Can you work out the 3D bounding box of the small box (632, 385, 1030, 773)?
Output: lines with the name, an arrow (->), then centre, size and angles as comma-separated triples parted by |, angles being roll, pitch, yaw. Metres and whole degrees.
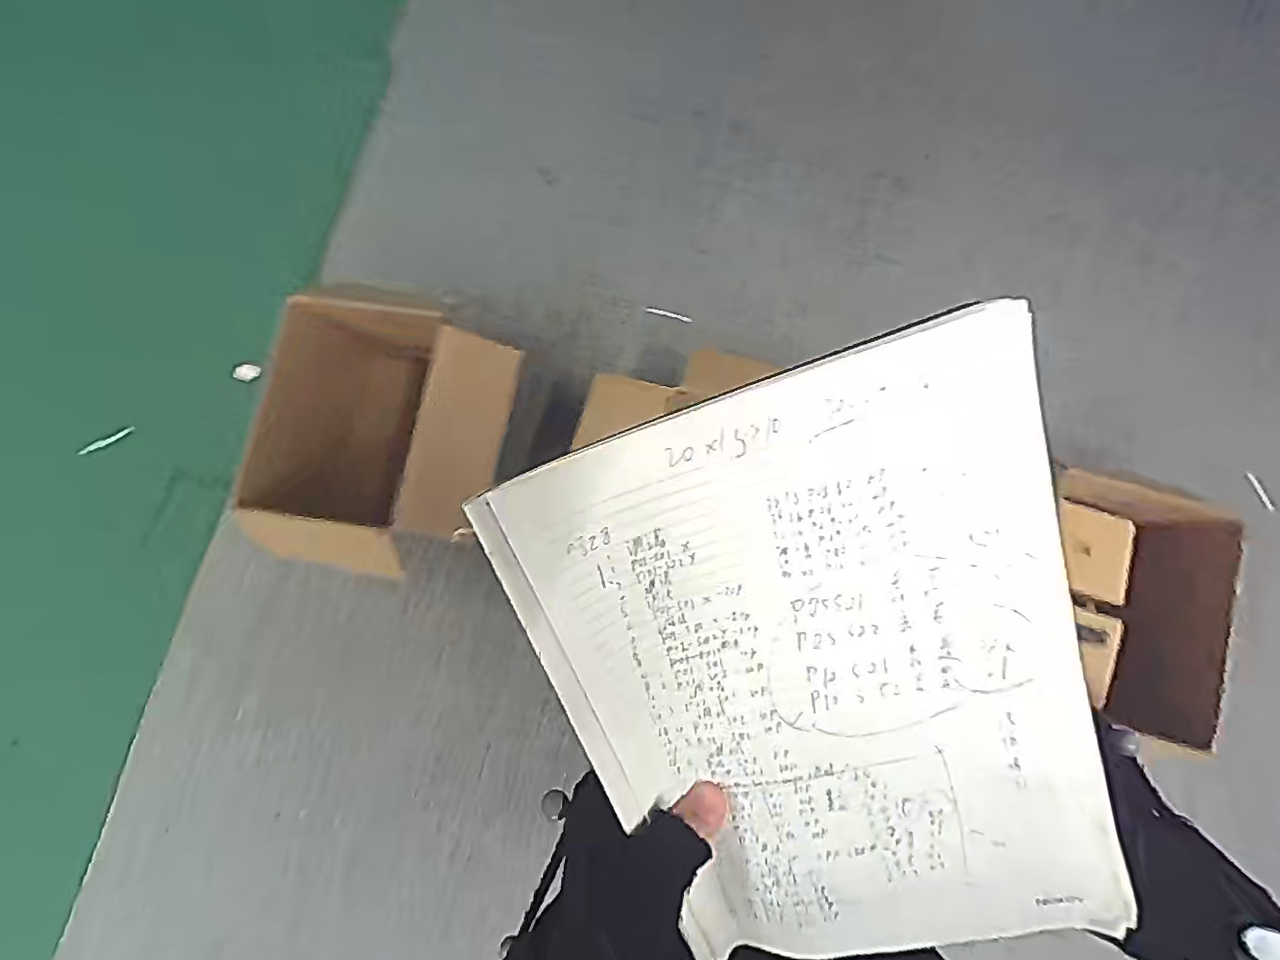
small box -> 0.091, 0.050, 0.332 | 0.168, 0.176, 0.179 | -4, 121, 8
